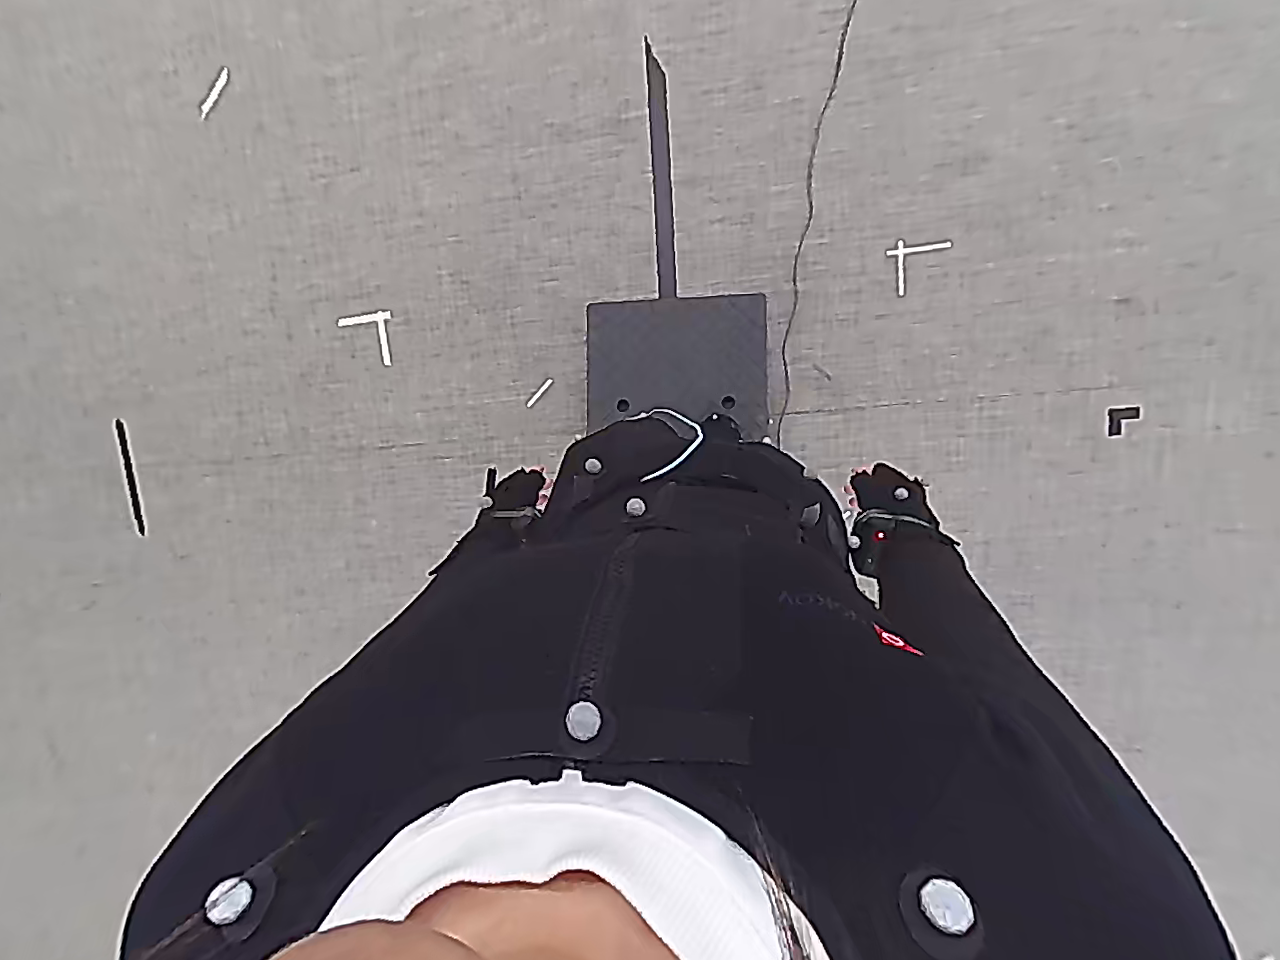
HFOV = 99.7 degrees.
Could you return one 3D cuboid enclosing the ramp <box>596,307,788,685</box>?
[{"bbox_3d":[0.124,0.036,1.459,0.509,0.206,0.991,-4,95,11],"label":"ramp"}]
